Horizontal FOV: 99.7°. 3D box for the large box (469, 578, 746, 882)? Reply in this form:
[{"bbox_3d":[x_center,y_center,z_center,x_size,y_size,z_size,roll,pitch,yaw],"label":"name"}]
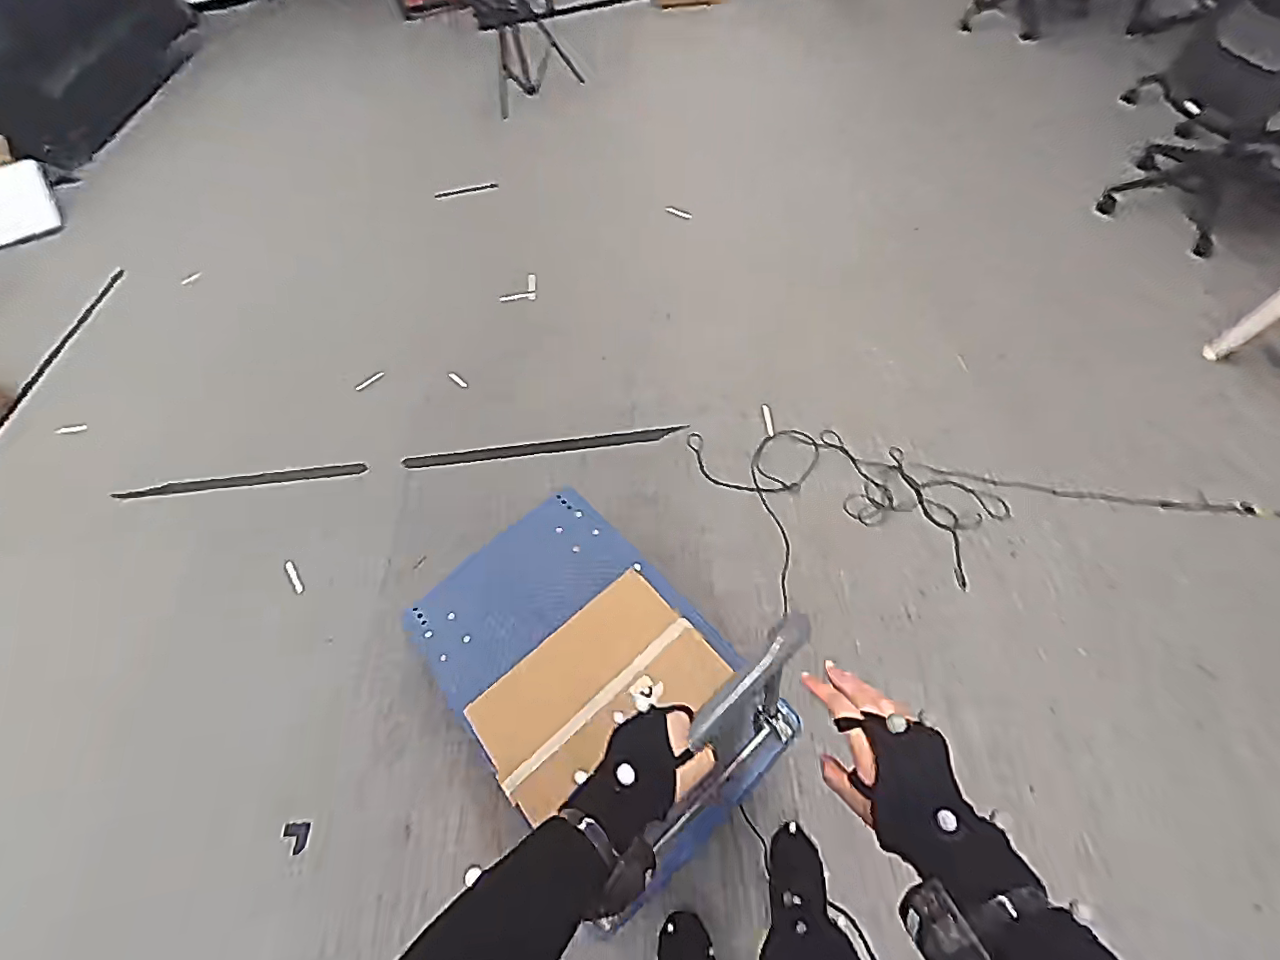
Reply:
[{"bbox_3d":[-0.043,0.482,1.058,0.408,0.320,0.320,-38,60,-16],"label":"large box"}]
